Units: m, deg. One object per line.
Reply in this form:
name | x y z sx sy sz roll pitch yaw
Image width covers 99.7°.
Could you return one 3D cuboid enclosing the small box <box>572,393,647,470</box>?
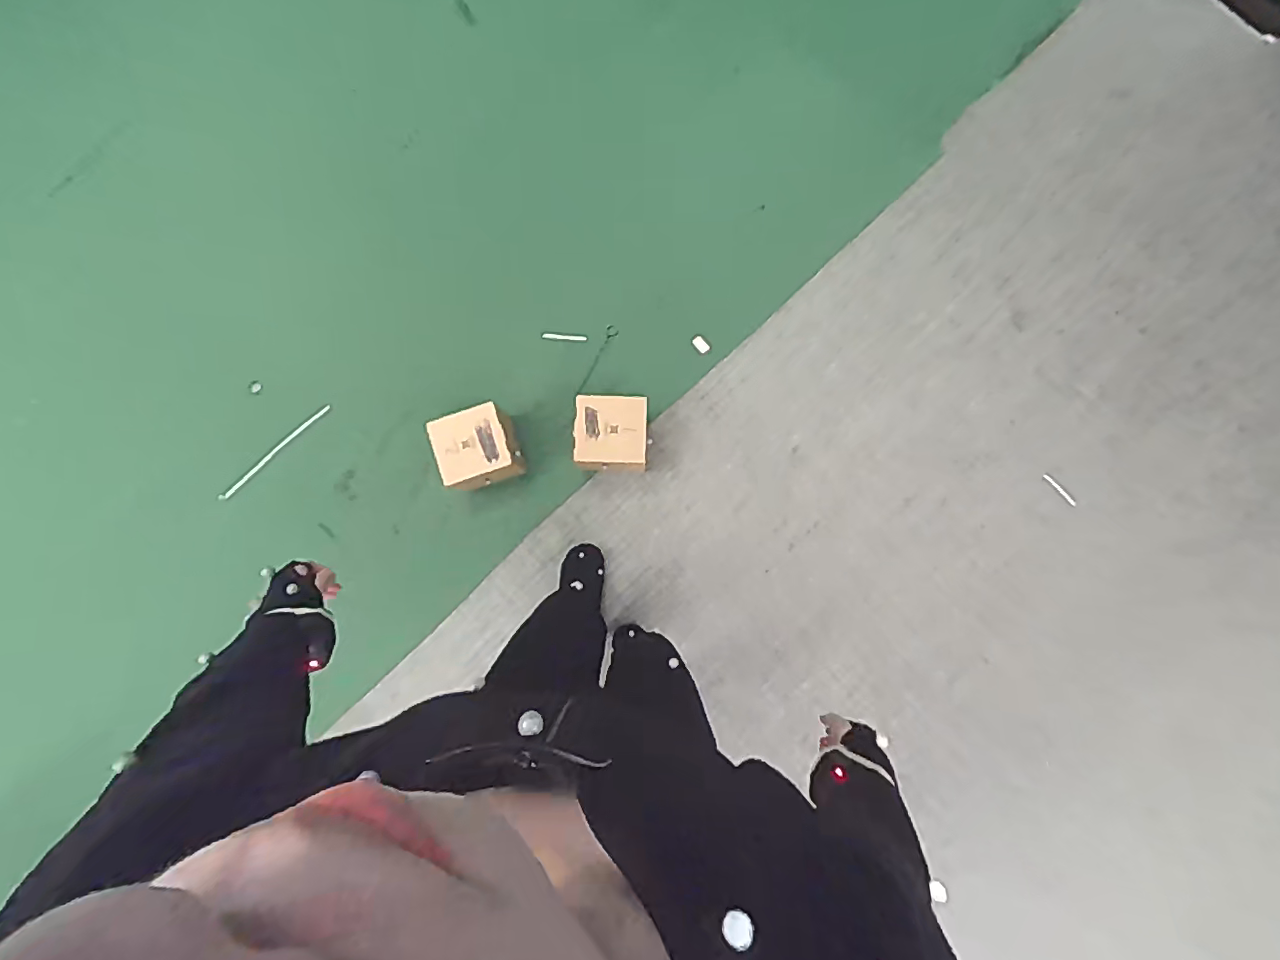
small box | -0.074 -0.119 1.390 0.179 0.176 0.168 2 84 -1
